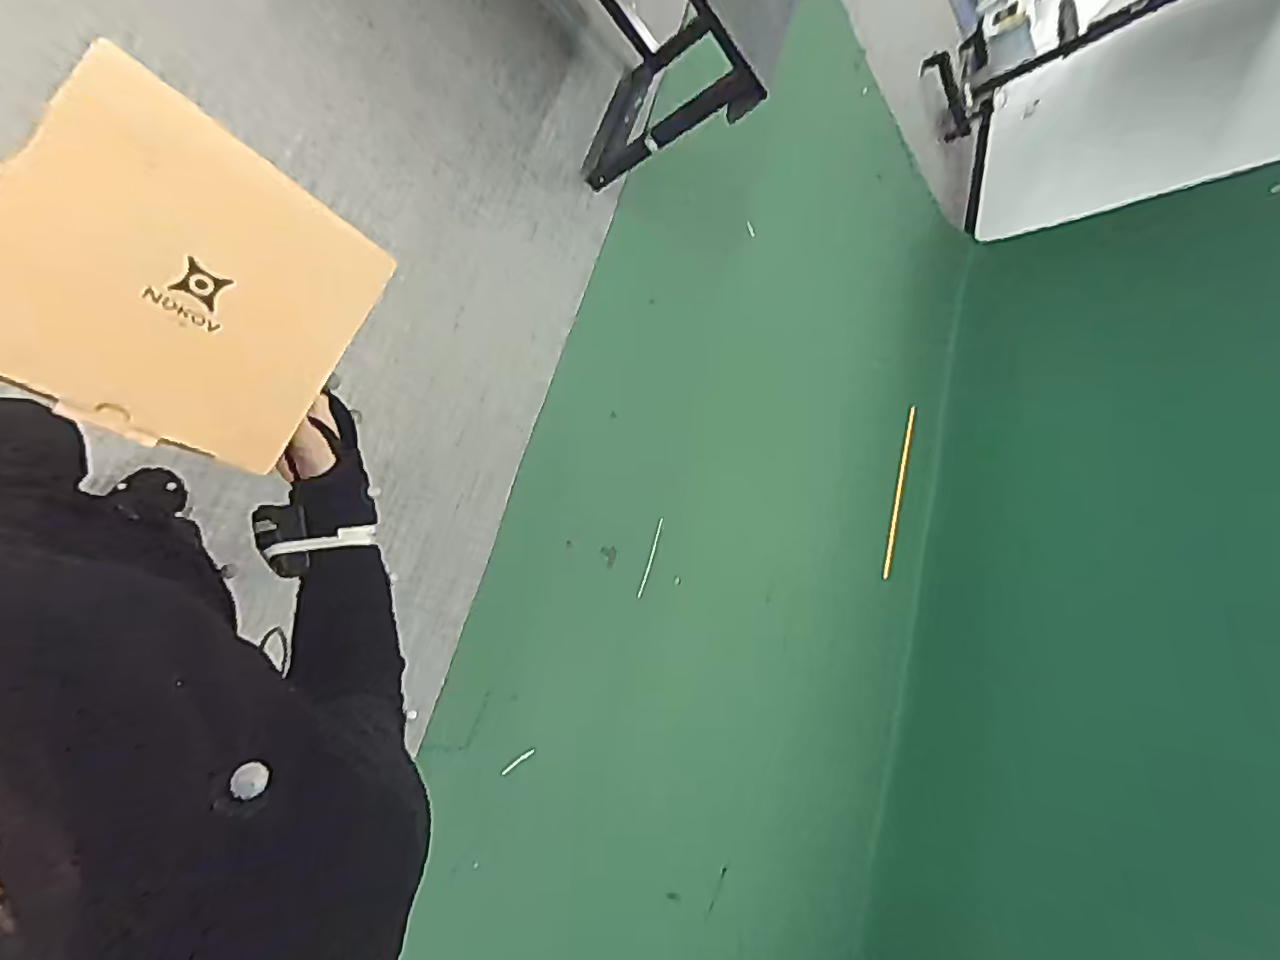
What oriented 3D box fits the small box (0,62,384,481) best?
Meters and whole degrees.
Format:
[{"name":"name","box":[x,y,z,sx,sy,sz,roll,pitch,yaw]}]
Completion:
[{"name":"small box","box":[-0.322,-0.129,0.370,0.168,0.176,0.179,36,81,-48]}]
